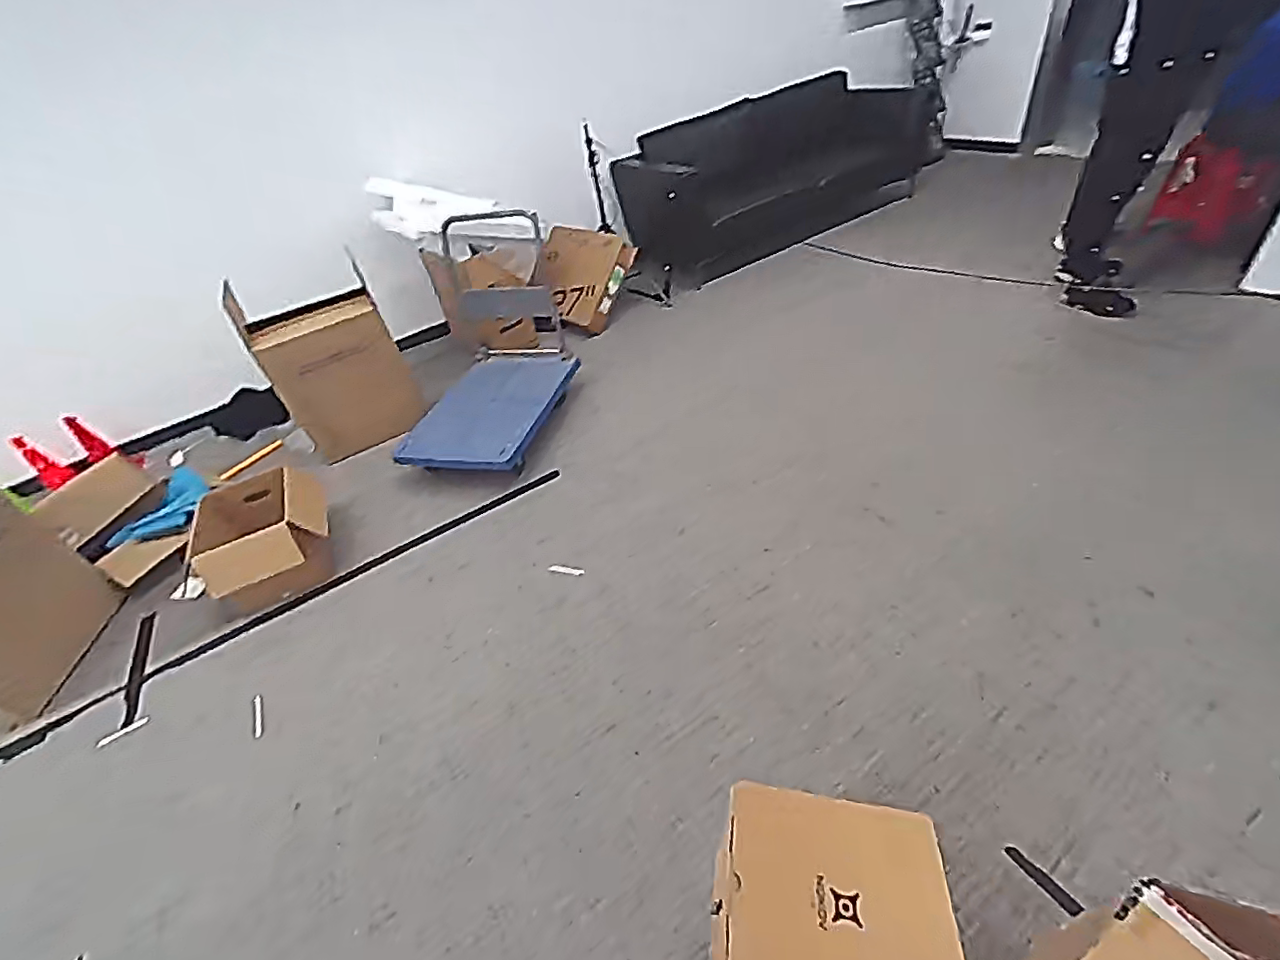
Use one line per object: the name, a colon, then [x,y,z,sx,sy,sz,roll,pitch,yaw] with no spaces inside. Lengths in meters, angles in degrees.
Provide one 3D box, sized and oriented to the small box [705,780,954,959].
small box: [0.151,0.398,0.472,0.179,0.176,0.168,5,36,8]
